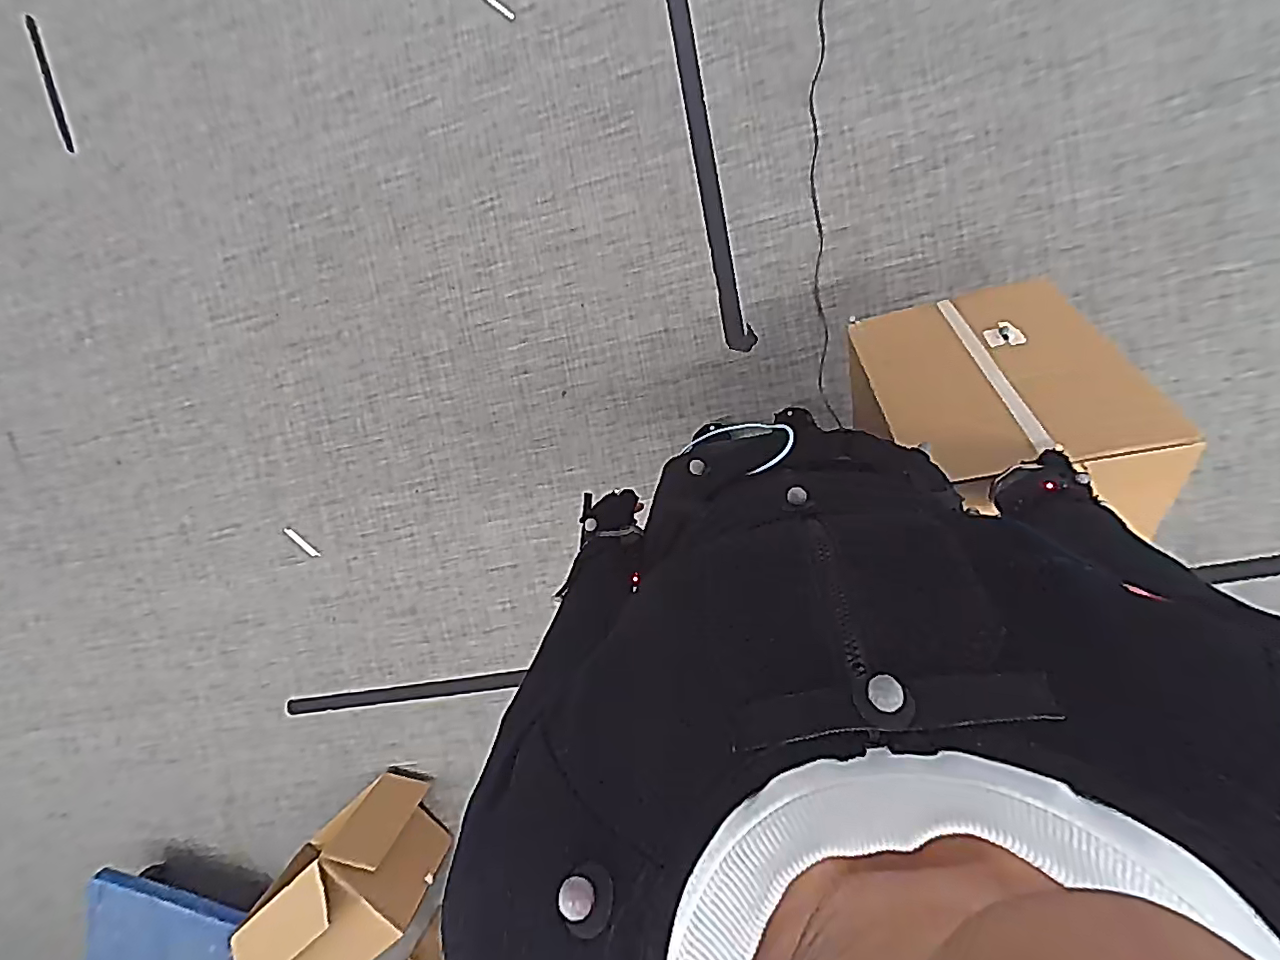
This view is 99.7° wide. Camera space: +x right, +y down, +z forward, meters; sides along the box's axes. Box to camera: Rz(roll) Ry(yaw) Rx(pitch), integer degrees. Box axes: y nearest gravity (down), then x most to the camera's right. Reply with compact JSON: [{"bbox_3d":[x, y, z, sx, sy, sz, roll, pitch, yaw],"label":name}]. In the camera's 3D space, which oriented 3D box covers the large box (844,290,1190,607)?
[{"bbox_3d":[0.558,-0.053,0.910,0.320,0.408,0.320,-11,134,13],"label":"large box"}]
